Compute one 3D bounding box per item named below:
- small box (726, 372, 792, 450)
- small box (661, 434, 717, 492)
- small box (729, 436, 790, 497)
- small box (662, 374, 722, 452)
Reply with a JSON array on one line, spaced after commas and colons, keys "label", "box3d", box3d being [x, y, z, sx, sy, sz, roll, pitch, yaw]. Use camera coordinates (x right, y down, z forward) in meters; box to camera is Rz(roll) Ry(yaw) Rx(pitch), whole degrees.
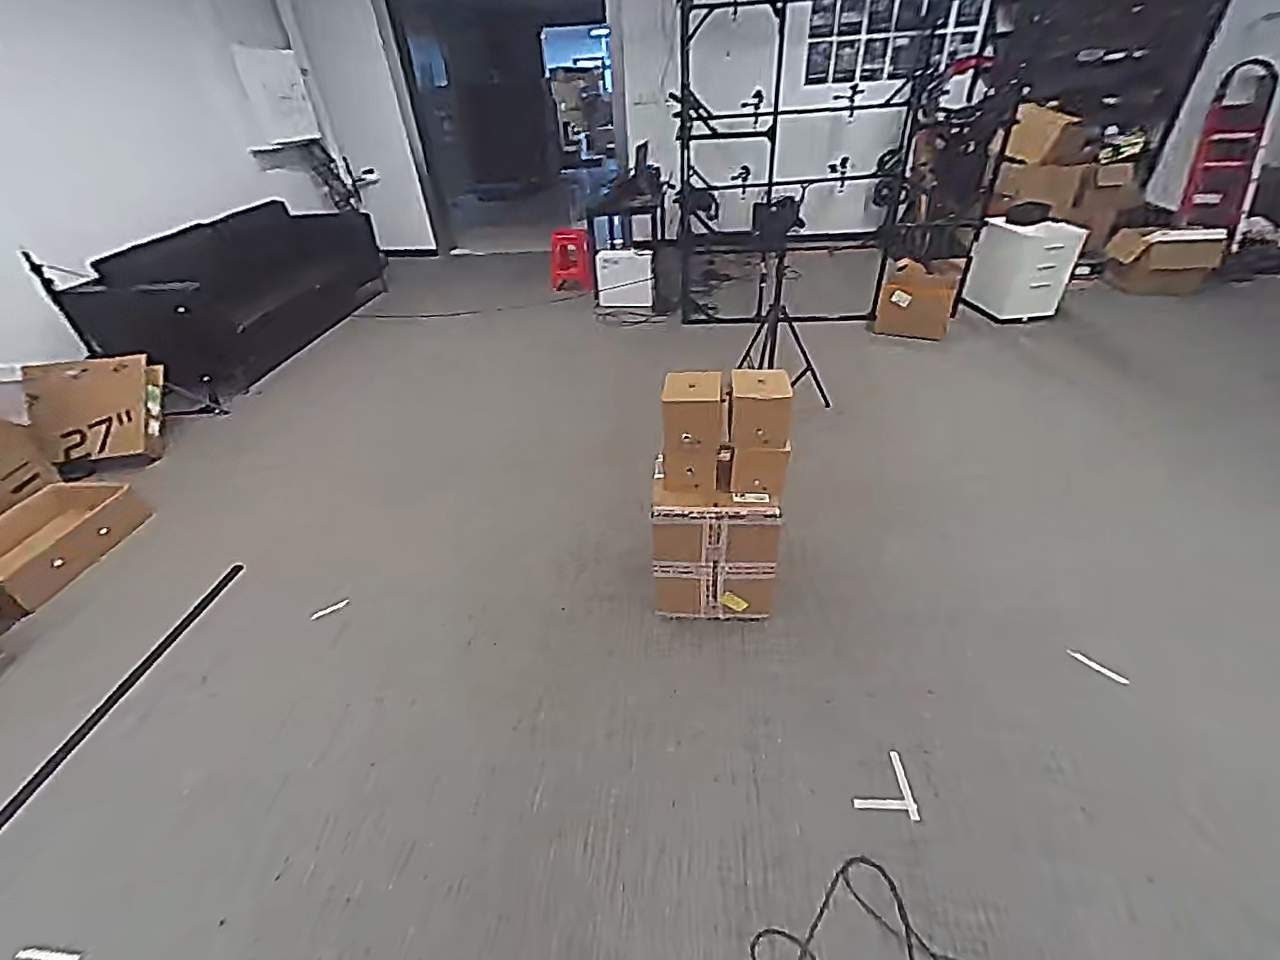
[{"label": "small box", "box3d": [0.347, -0.207, 1.605, 0.168, 0.176, 0.179, 1, 38, 5]}, {"label": "small box", "box3d": [0.160, -0.076, 1.720, 0.168, 0.176, 0.179, 1, 39, 9]}, {"label": "small box", "box3d": [0.367, -0.068, 1.694, 0.168, 0.176, 0.179, 3, 39, 6]}, {"label": "small box", "box3d": [0.158, -0.202, 1.614, 0.168, 0.176, 0.179, 0, 39, 9]}]
